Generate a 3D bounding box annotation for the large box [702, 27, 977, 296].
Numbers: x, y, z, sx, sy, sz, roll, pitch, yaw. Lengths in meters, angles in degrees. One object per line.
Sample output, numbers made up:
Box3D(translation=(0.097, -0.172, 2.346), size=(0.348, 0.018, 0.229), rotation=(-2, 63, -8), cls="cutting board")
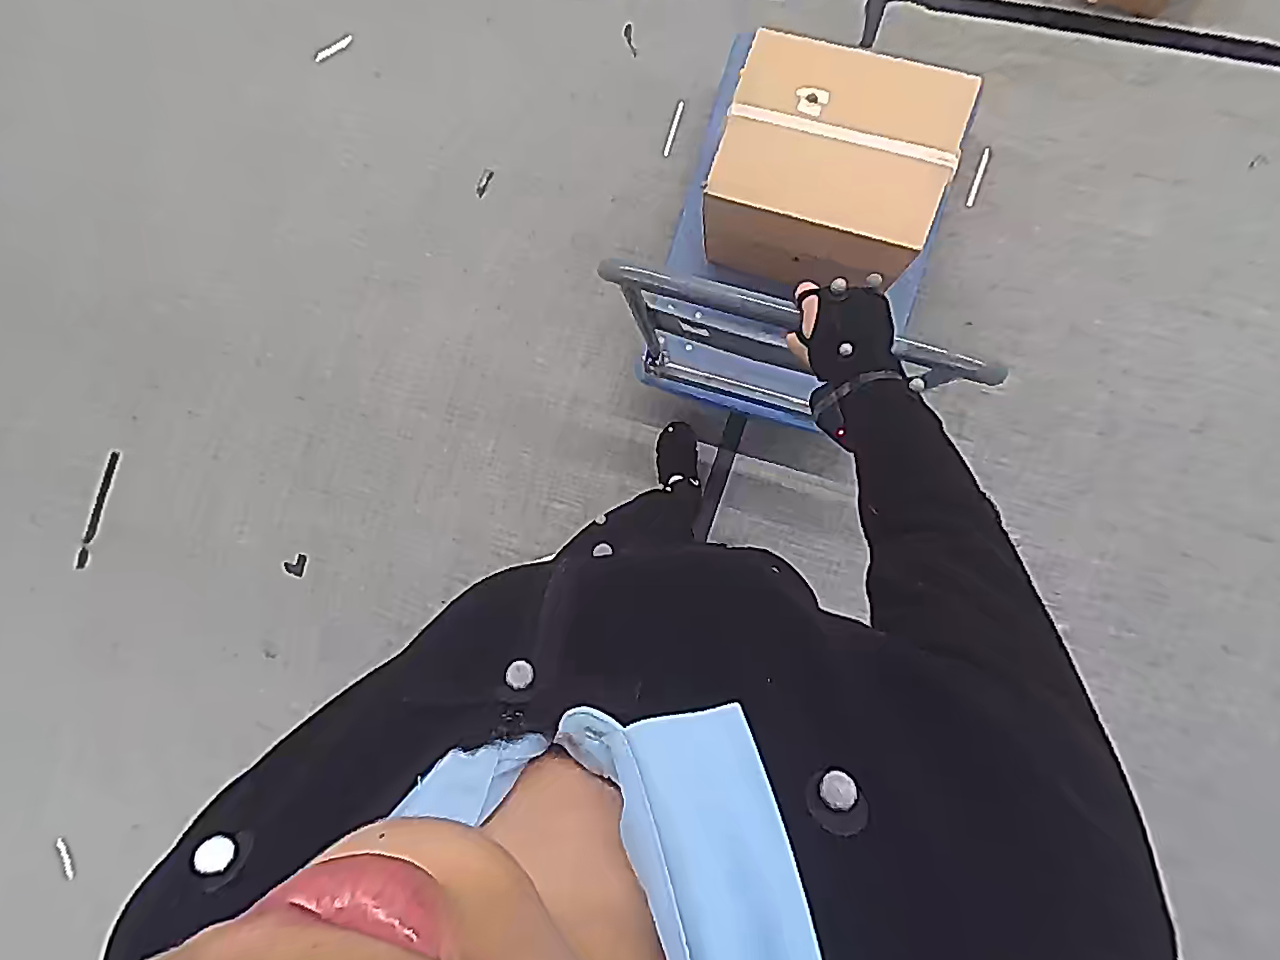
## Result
Box3D(translation=(0.368, -0.613, 1.097), size=(0.408, 0.320, 0.320), rotation=(19, 92, 9), cls="large box")
